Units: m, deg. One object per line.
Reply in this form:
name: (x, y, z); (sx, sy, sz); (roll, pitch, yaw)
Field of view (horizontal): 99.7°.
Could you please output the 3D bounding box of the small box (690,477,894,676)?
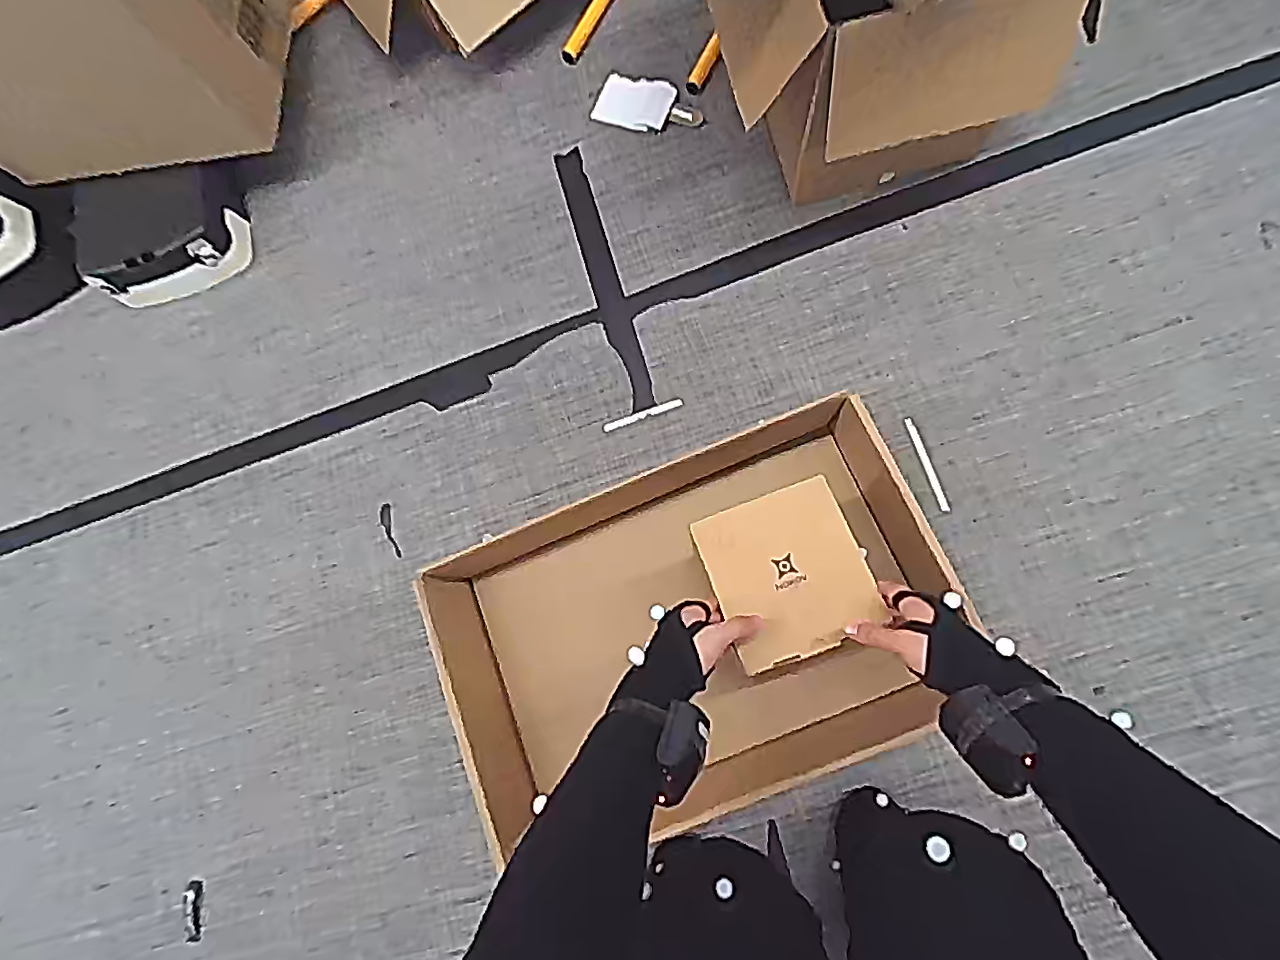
small box: (0.168, 0.124, 0.657); (0.168, 0.176, 0.179); (-22, 71, 1)
